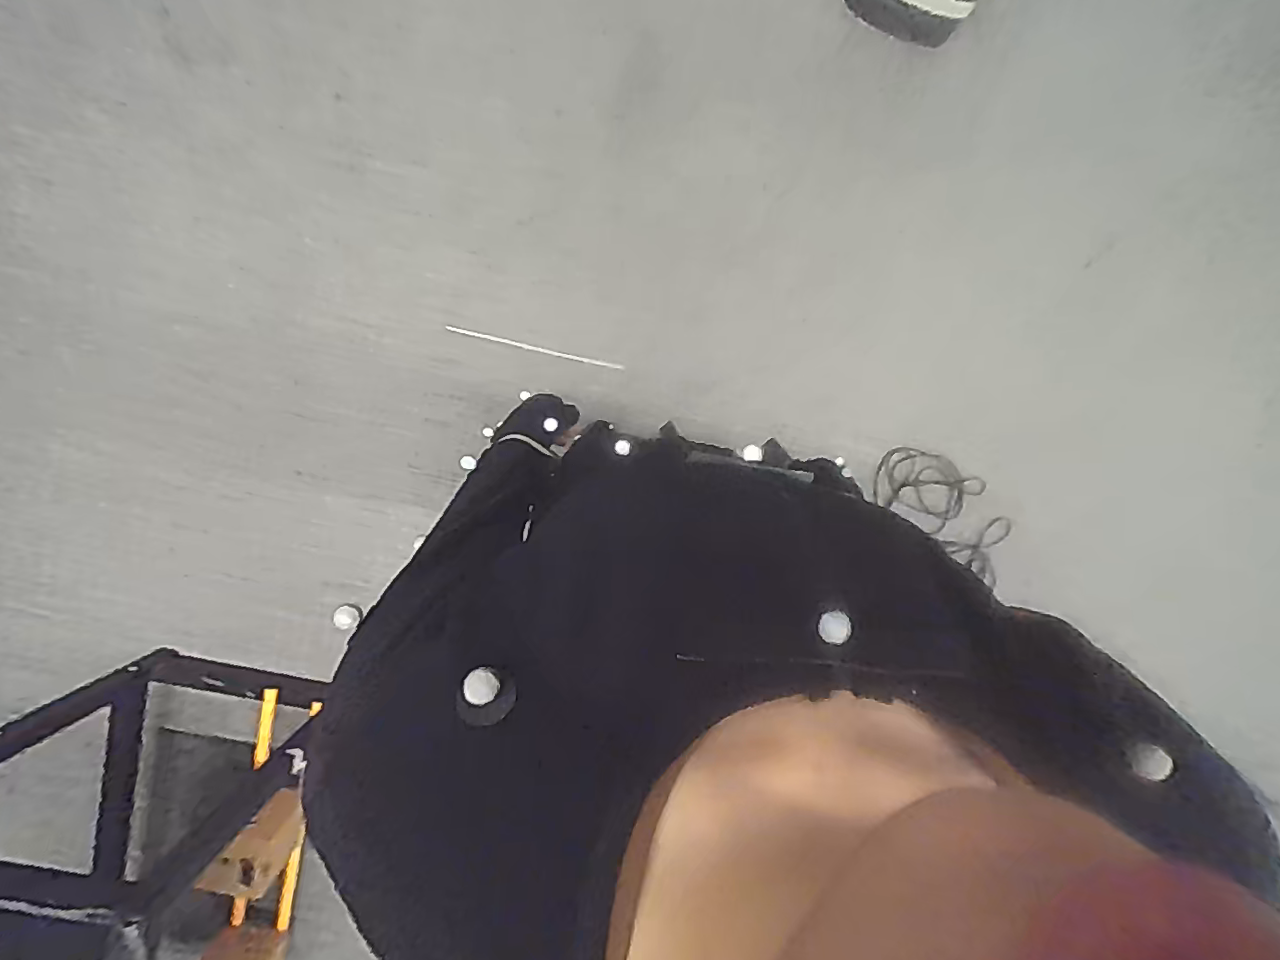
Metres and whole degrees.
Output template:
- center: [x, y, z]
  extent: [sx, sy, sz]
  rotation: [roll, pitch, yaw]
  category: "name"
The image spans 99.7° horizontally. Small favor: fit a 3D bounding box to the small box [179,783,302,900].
- center: [-0.993, 0.899, 1.360]
  extent: [0.179, 0.176, 0.168]
  rotation: [16, 95, -4]
  category: "small box"
